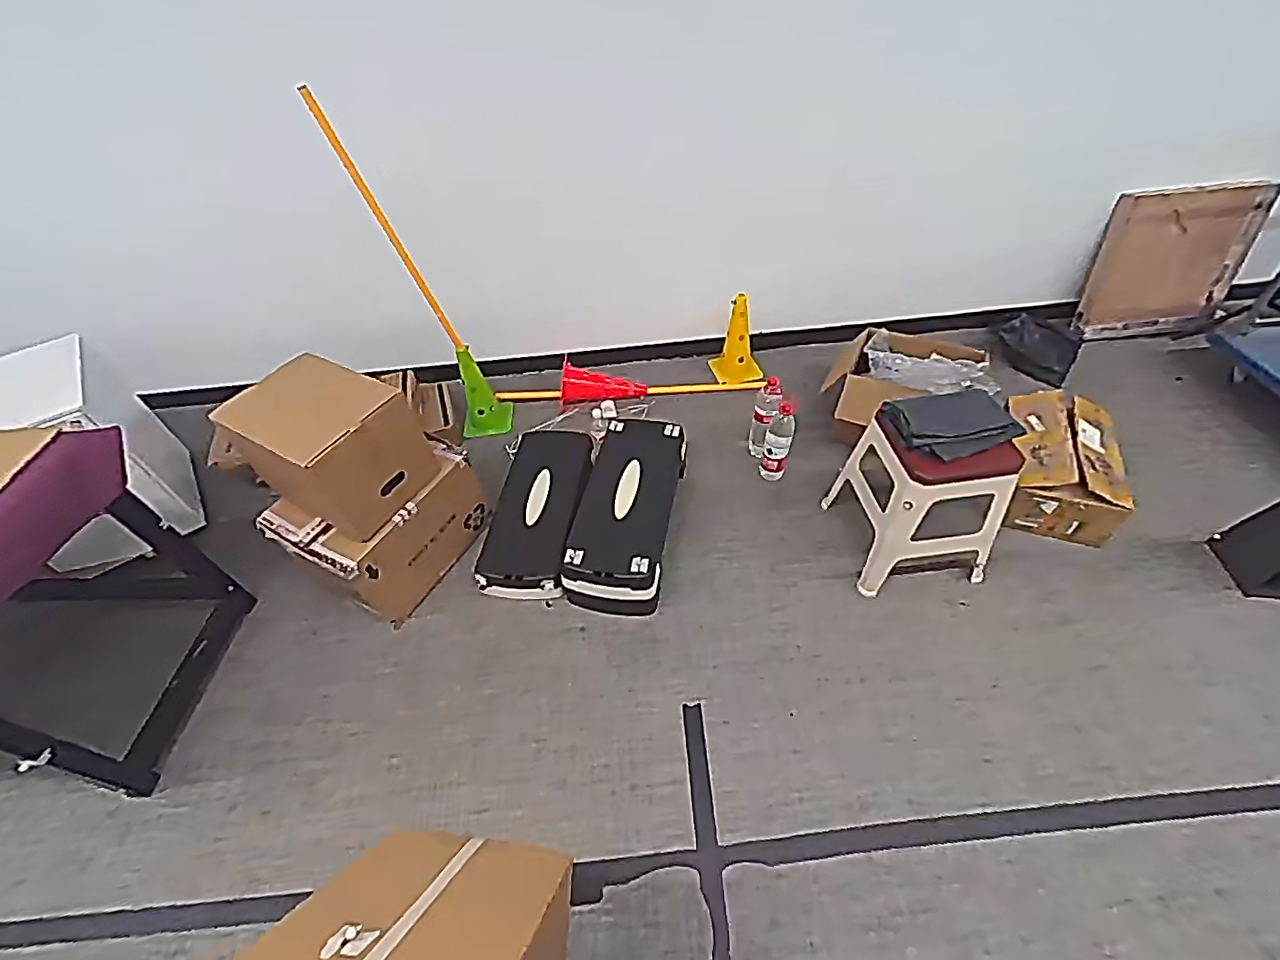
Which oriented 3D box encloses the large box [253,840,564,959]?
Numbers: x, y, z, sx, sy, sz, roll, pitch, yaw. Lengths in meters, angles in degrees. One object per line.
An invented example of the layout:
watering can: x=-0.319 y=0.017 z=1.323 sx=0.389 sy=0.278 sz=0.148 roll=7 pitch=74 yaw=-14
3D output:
large box: x=-0.304 y=0.732 z=0.675 sx=0.320 sy=0.408 sz=0.320 roll=1 pitch=81 yaw=9
